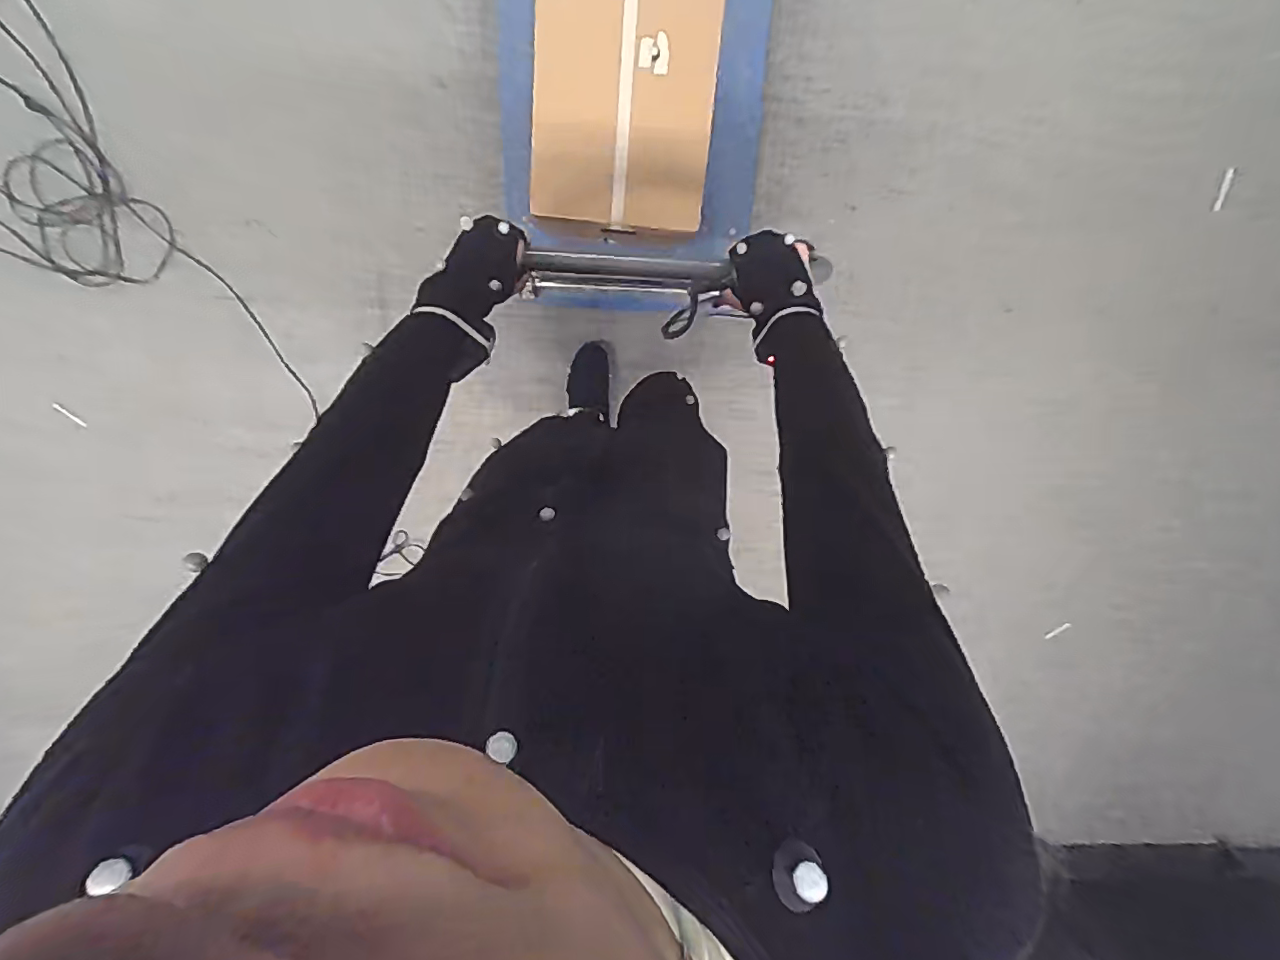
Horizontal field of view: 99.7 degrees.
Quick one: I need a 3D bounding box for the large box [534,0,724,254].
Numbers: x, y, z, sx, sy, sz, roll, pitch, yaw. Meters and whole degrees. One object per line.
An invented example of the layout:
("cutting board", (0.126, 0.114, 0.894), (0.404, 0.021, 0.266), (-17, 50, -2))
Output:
("large box", (-0.030, -0.694, 1.087), (0.320, 0.320, 0.408), (4, 106, -4))
